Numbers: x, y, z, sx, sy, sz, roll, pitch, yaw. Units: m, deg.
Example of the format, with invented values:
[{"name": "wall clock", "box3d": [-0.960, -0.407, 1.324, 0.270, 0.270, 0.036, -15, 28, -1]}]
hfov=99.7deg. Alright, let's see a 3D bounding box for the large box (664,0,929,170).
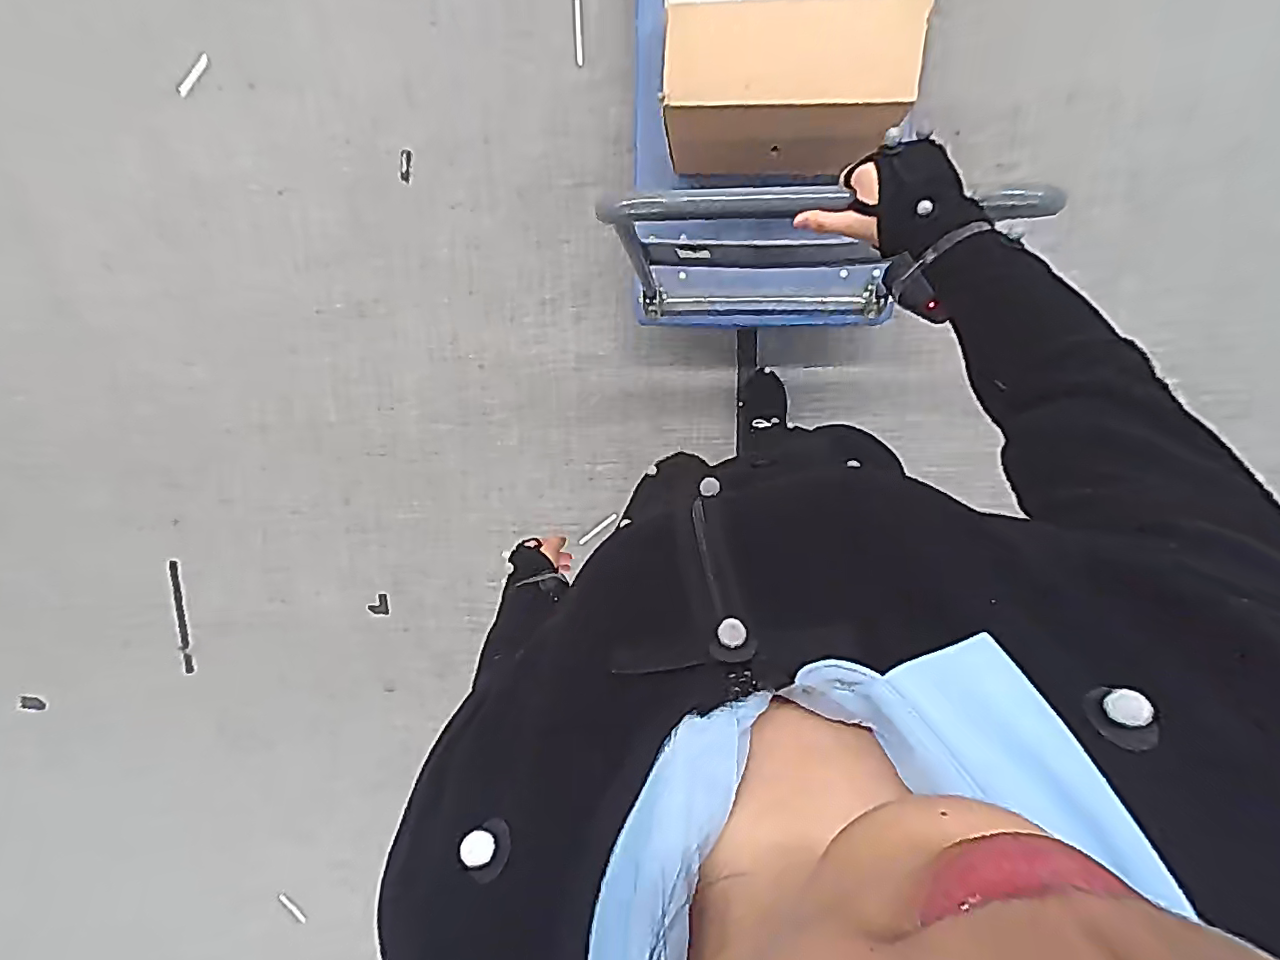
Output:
[{"name": "large box", "box3d": [0.264, -0.785, 0.981, 0.408, 0.320, 0.320, 4, 99, 8]}]
